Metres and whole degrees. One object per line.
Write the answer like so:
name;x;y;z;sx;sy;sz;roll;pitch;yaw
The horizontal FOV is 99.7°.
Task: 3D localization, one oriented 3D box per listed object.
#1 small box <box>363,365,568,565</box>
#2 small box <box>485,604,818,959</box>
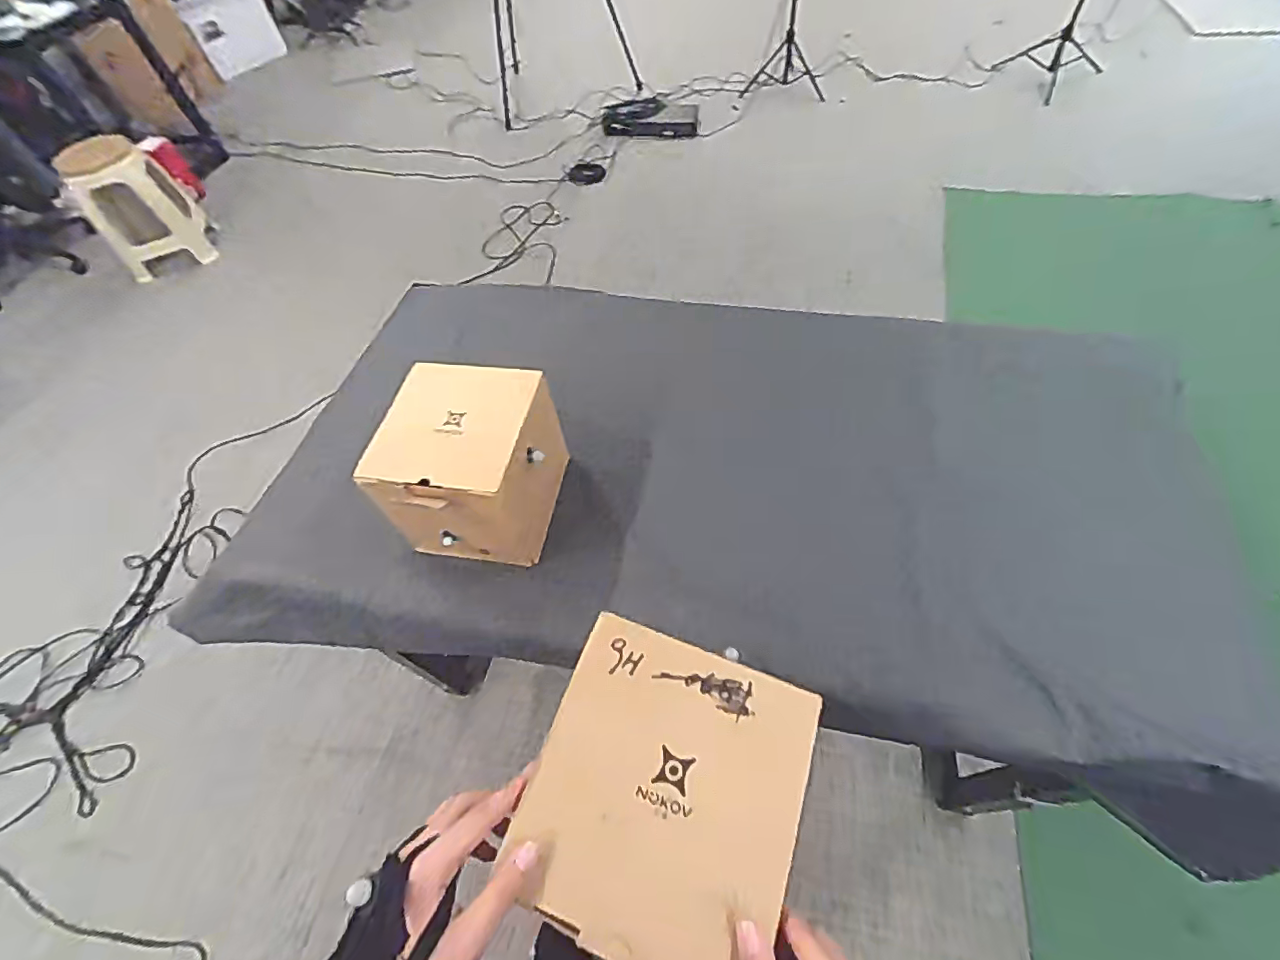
small box;-0.195;-0.017;0.671;0.168;0.176;0.179;6;56;9
small box;0.013;0.223;0.409;0.168;0.176;0.179;19;63;8
